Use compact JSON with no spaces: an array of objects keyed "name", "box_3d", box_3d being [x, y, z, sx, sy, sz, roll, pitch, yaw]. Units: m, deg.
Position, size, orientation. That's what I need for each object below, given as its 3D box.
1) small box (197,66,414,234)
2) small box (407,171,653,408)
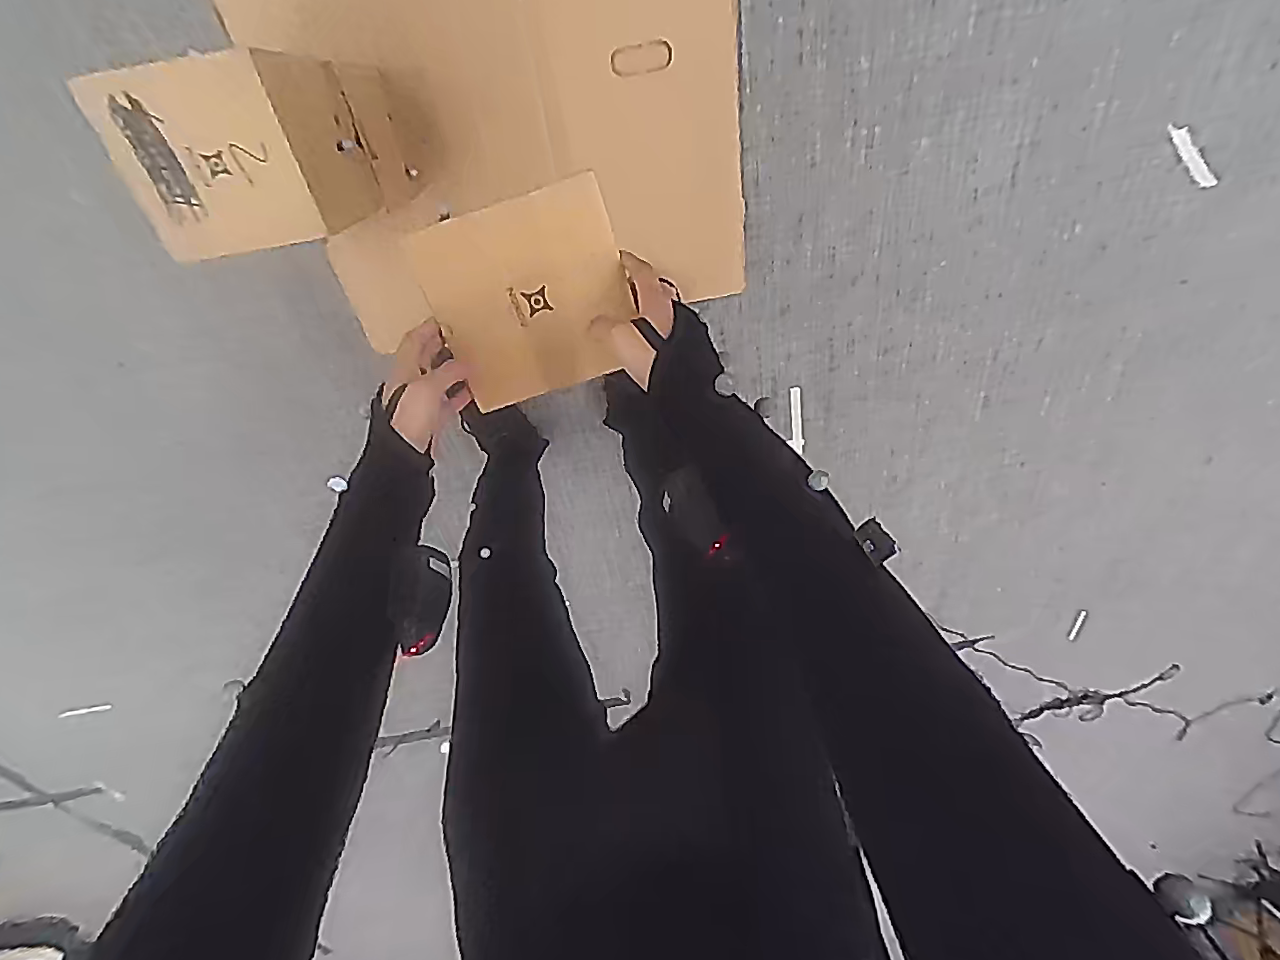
[{"name":"small box","box_3d":[-0.432,-0.455,0.742,0.179,0.176,0.168,-9,126,2]},{"name":"small box","box_3d":[-0.099,-0.201,0.553,0.179,0.176,0.168,-17,120,5]}]
